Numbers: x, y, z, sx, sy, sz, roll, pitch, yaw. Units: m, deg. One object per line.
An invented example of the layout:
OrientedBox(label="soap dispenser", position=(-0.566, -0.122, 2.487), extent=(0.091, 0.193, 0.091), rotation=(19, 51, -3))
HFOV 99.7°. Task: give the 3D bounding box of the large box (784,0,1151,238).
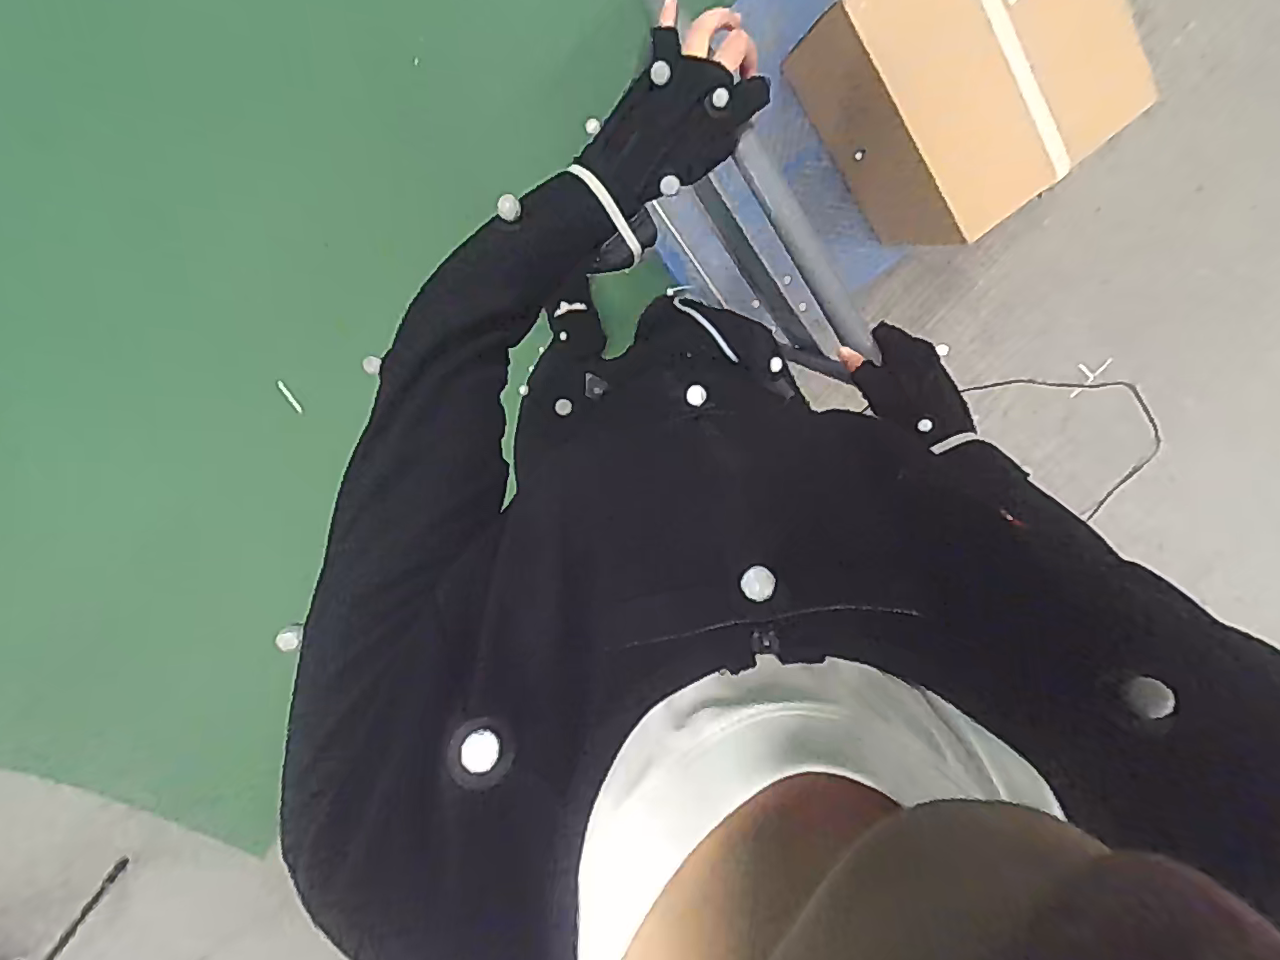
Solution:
OrientedBox(label="large box", position=(0.510, -0.677, 0.909), extent=(0.320, 0.320, 0.408), rotation=(-38, 108, 13))
